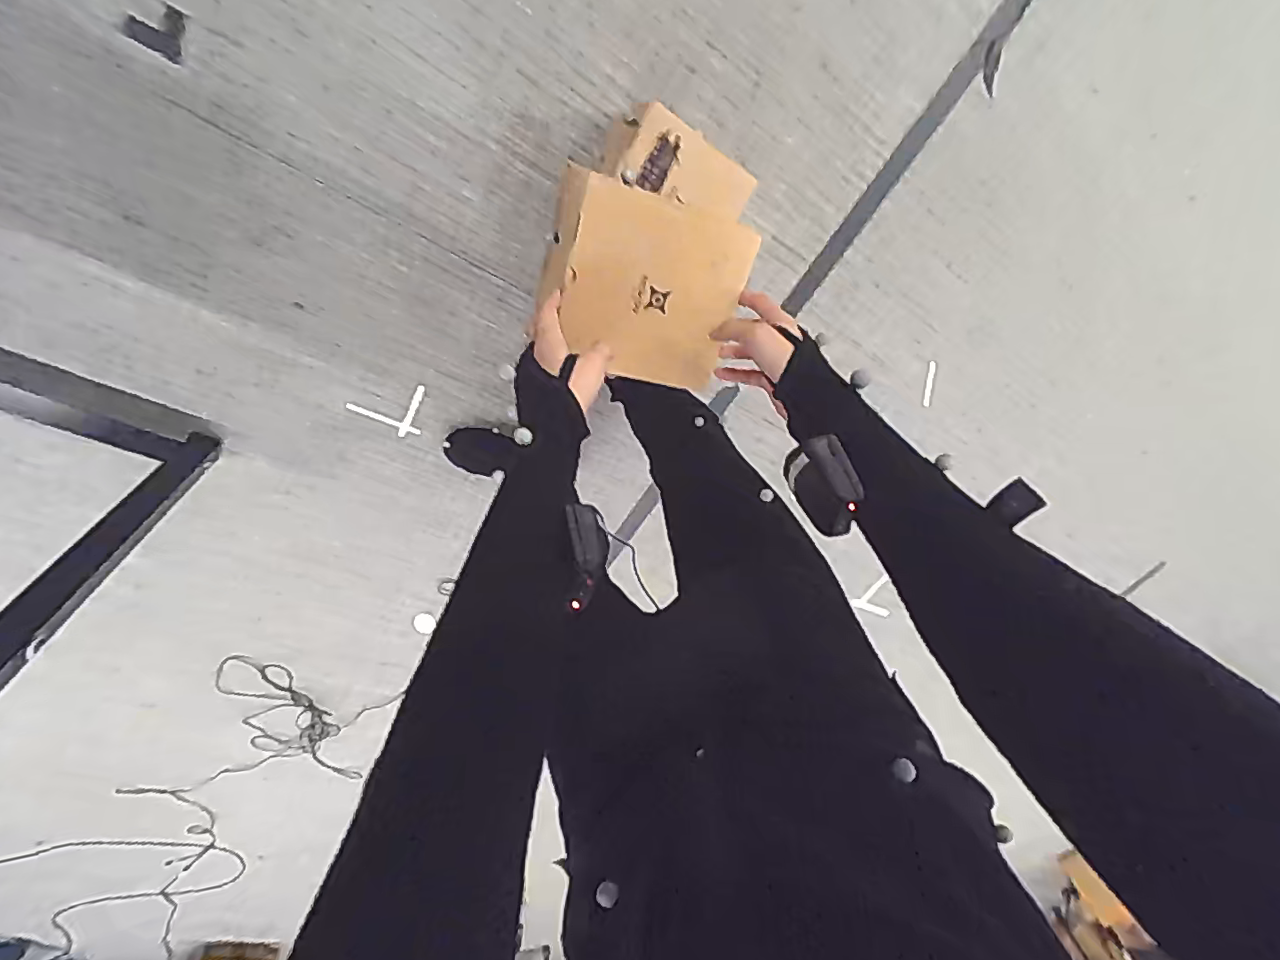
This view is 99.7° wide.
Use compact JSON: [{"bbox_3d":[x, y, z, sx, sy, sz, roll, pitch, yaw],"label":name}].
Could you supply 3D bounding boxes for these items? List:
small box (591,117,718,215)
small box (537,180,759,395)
[{"bbox_3d":[0.004,-0.493,0.938,0.168,0.176,0.179,22,117,-22],"label":"small box"},{"bbox_3d":[-0.007,-0.210,0.582,0.179,0.176,0.168,7,119,-19],"label":"small box"}]
